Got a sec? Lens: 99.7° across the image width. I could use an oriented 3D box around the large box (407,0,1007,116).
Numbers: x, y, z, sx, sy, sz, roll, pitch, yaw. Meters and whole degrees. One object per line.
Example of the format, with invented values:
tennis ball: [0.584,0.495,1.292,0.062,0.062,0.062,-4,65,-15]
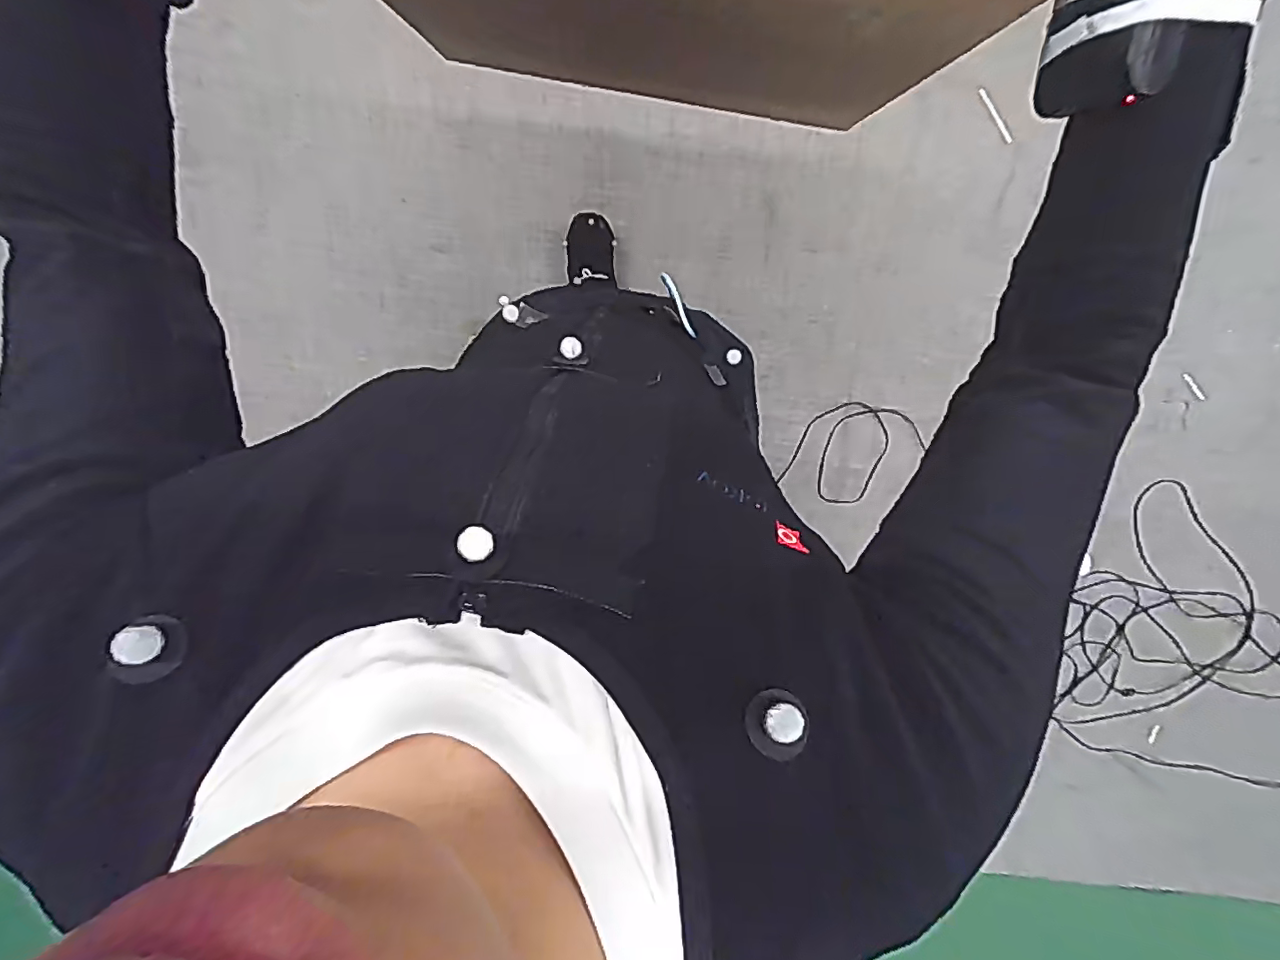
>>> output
large box: [0.033,-0.468,0.337,0.408,0.320,0.320,8,113,-3]
